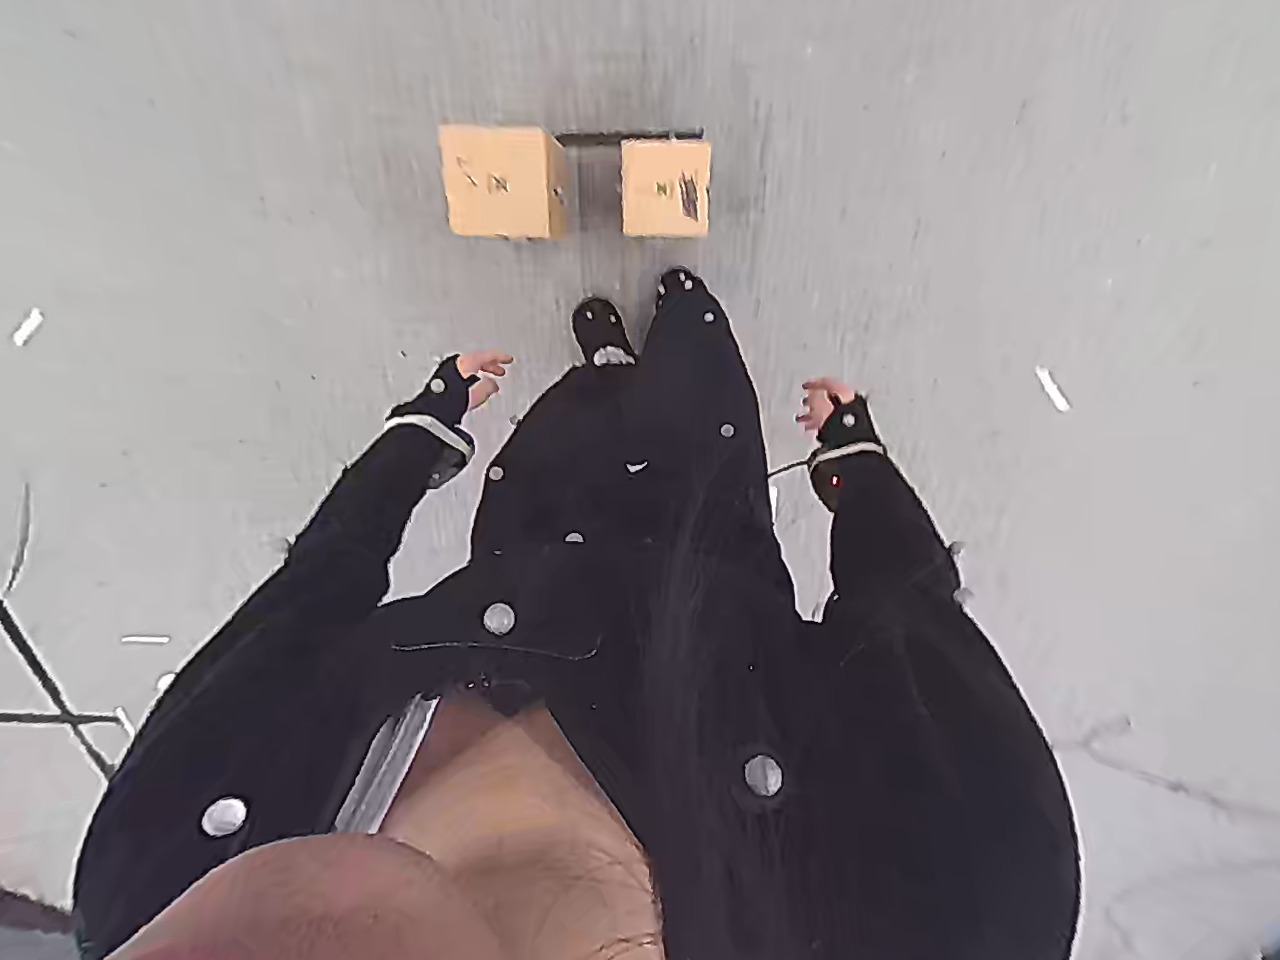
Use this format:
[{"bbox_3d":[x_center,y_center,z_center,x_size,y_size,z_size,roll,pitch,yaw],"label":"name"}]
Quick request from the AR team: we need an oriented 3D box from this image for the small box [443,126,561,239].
[{"bbox_3d":[-0.240,-0.539,0.993,0.179,0.176,0.168,2,115,0],"label":"small box"}]

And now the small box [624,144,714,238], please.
[{"bbox_3d":[0.055,-0.607,1.143,0.179,0.176,0.168,1,116,1],"label":"small box"}]
